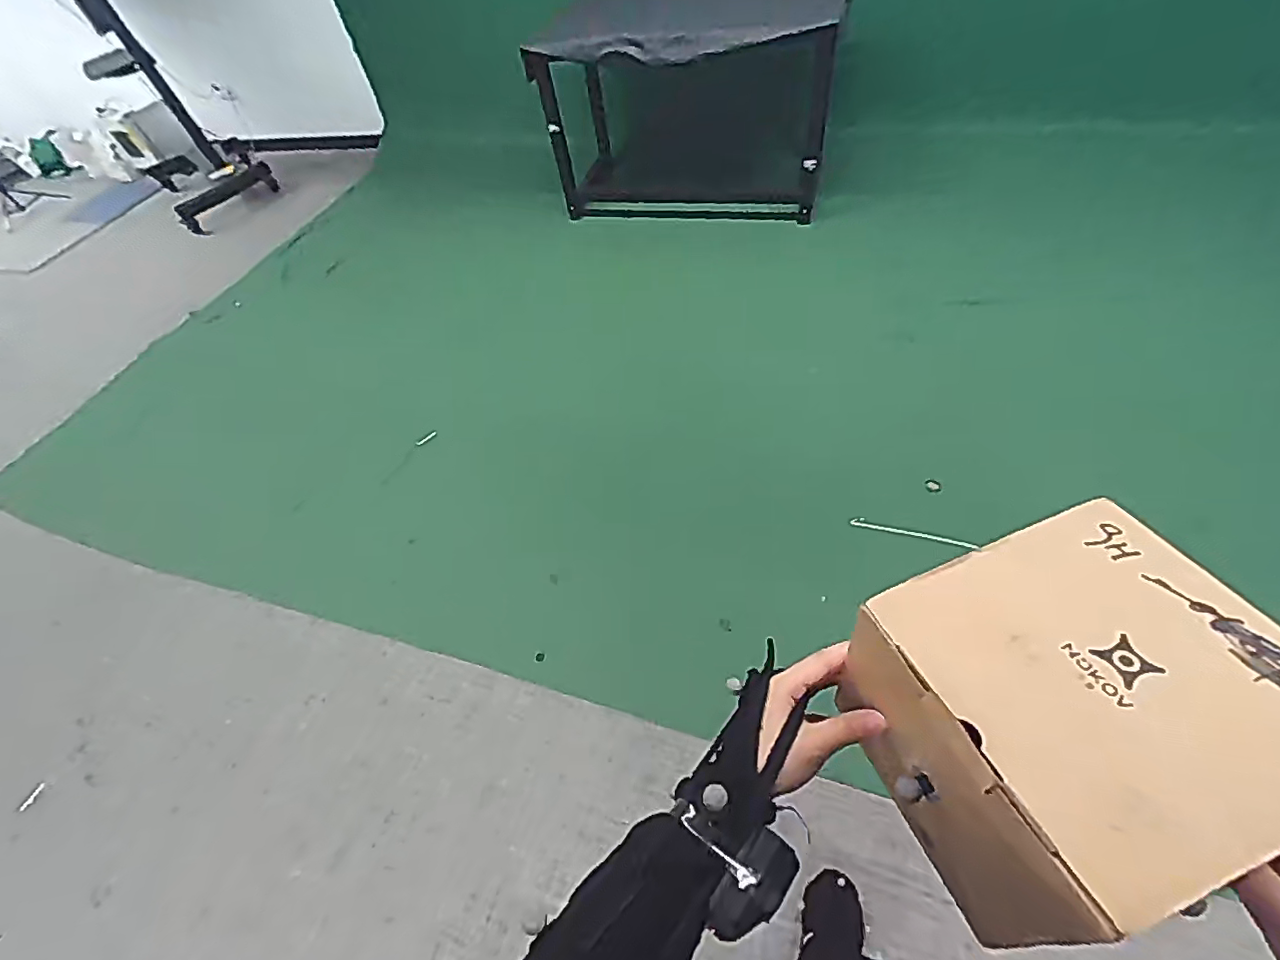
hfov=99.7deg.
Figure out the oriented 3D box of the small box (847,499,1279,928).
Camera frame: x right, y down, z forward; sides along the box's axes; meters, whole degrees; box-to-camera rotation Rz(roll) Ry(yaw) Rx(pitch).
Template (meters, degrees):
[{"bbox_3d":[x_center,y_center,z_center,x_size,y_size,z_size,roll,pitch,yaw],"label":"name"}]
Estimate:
[{"bbox_3d":[0.249,0.149,0.340,0.179,0.176,0.168,-21,48,-6],"label":"small box"}]
